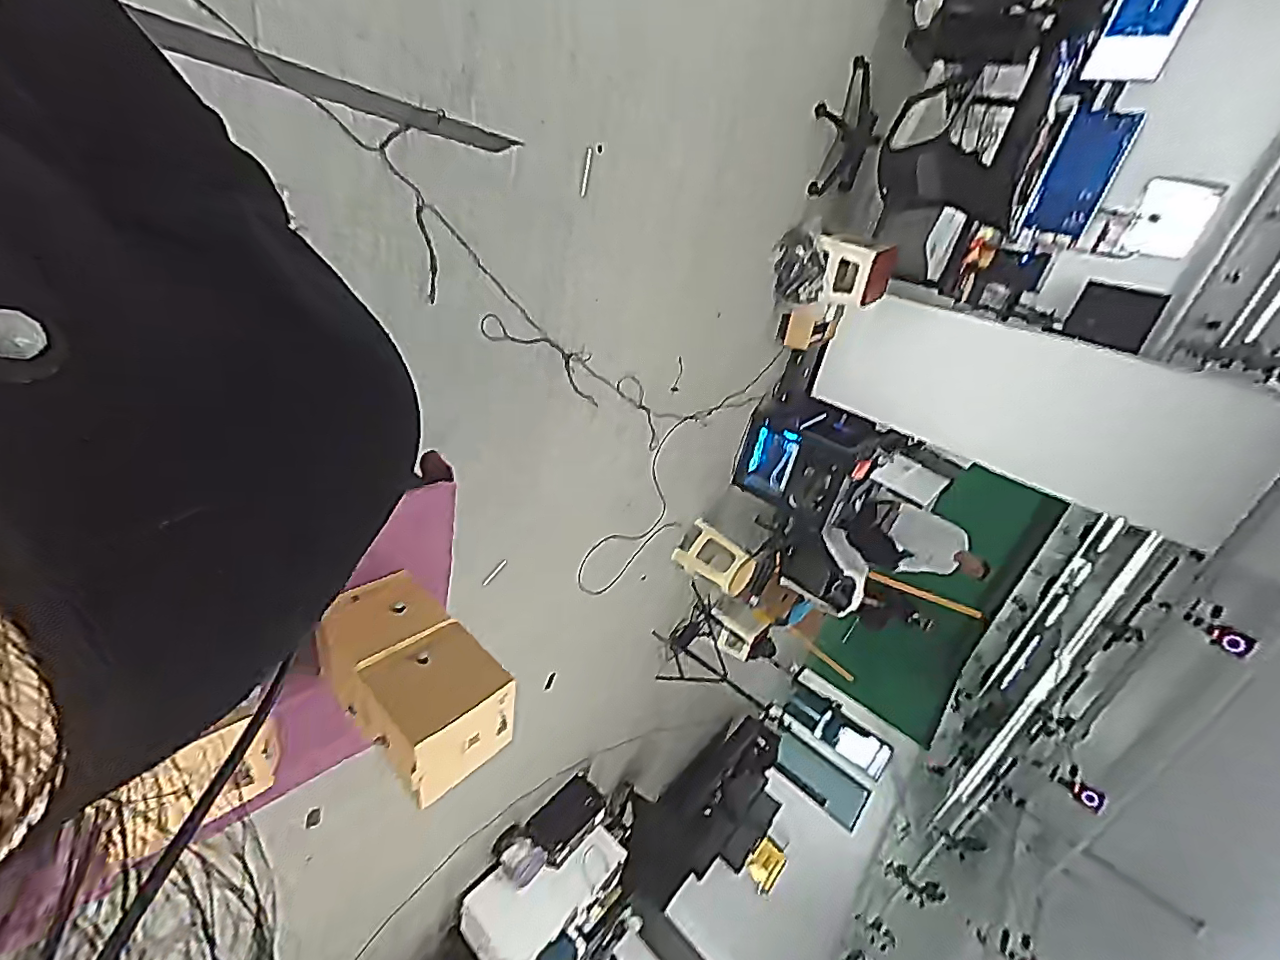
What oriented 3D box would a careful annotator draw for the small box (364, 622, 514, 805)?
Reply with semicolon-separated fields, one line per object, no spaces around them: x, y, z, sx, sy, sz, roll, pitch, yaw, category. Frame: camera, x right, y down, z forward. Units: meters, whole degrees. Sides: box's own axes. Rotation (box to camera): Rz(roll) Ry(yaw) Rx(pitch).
-0.331;0.370;0.884;0.179;0.176;0.168;-24;135;-44;small box

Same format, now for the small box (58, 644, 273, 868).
-0.641;0.360;0.742;0.179;0.176;0.168;-20;132;-46;small box

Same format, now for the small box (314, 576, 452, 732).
-0.454;0.293;0.959;0.168;0.176;0.179;-22;134;-46;small box
